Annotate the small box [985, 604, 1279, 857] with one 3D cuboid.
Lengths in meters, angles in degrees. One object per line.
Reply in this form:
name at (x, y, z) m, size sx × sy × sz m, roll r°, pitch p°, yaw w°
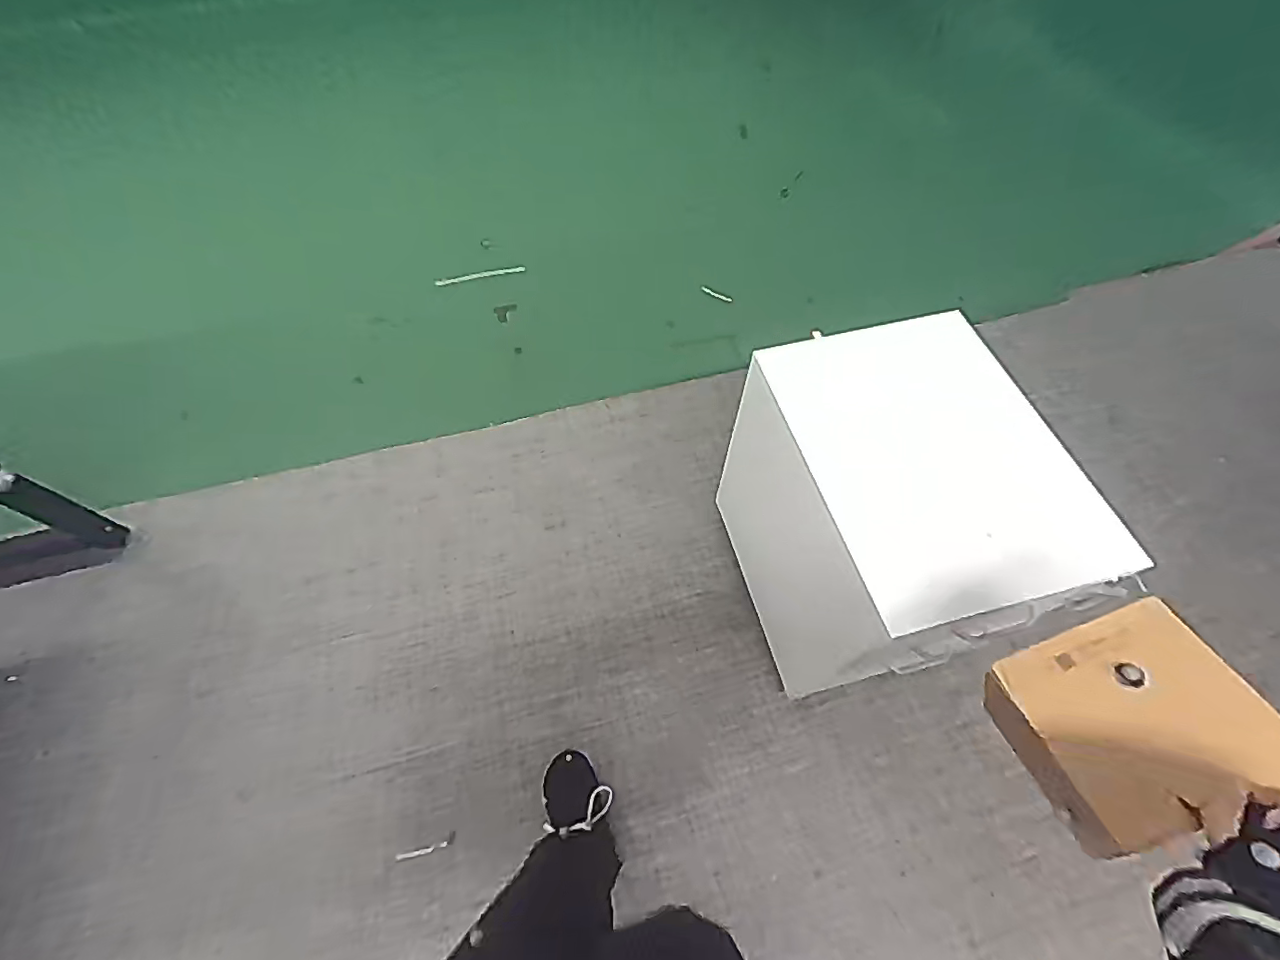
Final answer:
small box at (0.477, 0.249, 0.539) m, size 0.168 × 0.179 × 0.176 m, roll -30°, pitch 47°, yaw 10°
